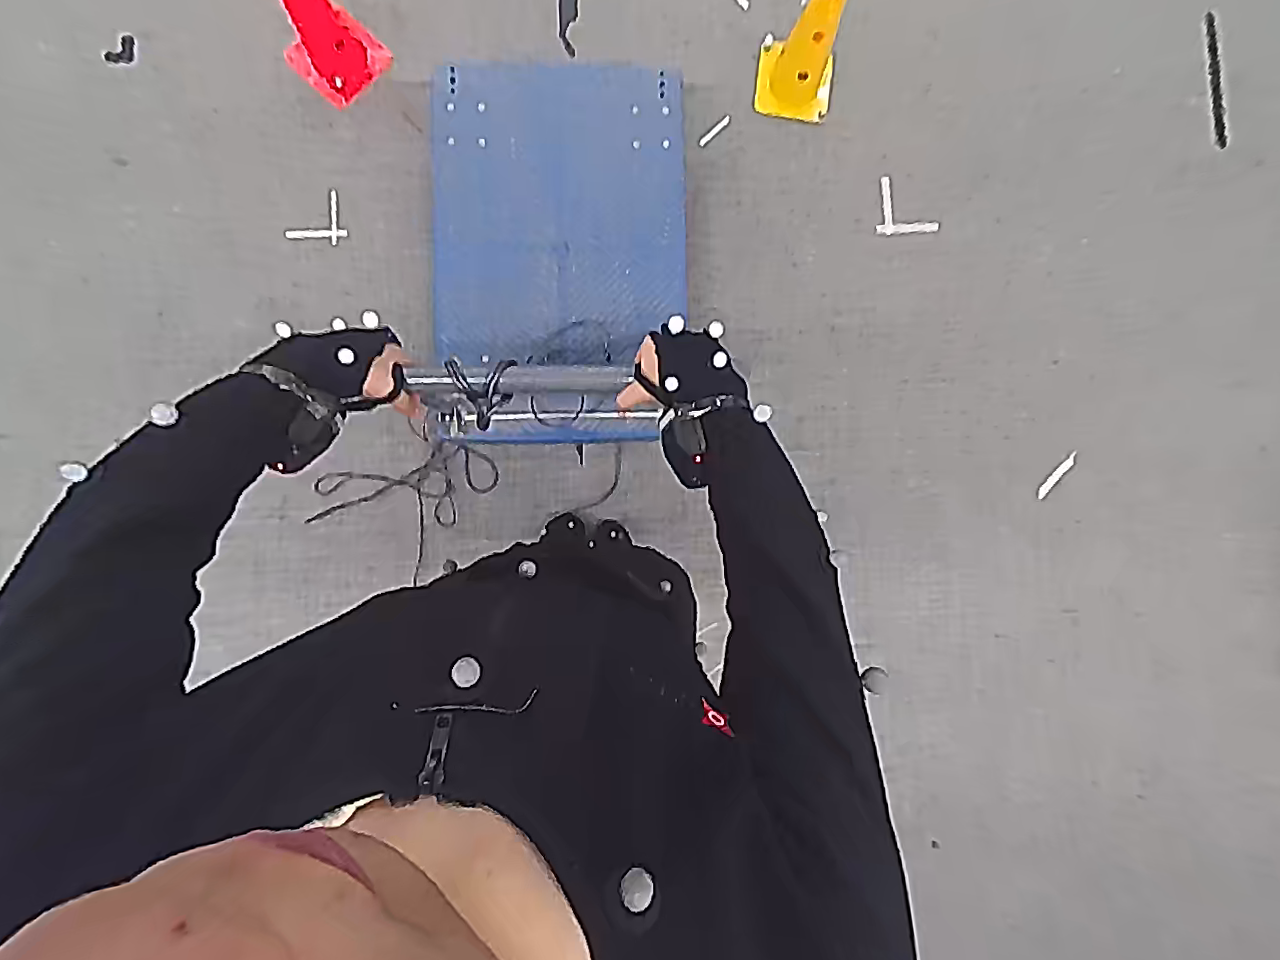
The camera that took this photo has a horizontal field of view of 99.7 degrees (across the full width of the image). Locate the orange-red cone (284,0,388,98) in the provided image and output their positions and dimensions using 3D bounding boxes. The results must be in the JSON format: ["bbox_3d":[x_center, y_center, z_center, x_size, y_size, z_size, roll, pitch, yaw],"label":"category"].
[{"bbox_3d":[-0.754,-1.099,1.200,0.198,0.360,0.199,44,85,-2],"label":"orange-red cone"}]
